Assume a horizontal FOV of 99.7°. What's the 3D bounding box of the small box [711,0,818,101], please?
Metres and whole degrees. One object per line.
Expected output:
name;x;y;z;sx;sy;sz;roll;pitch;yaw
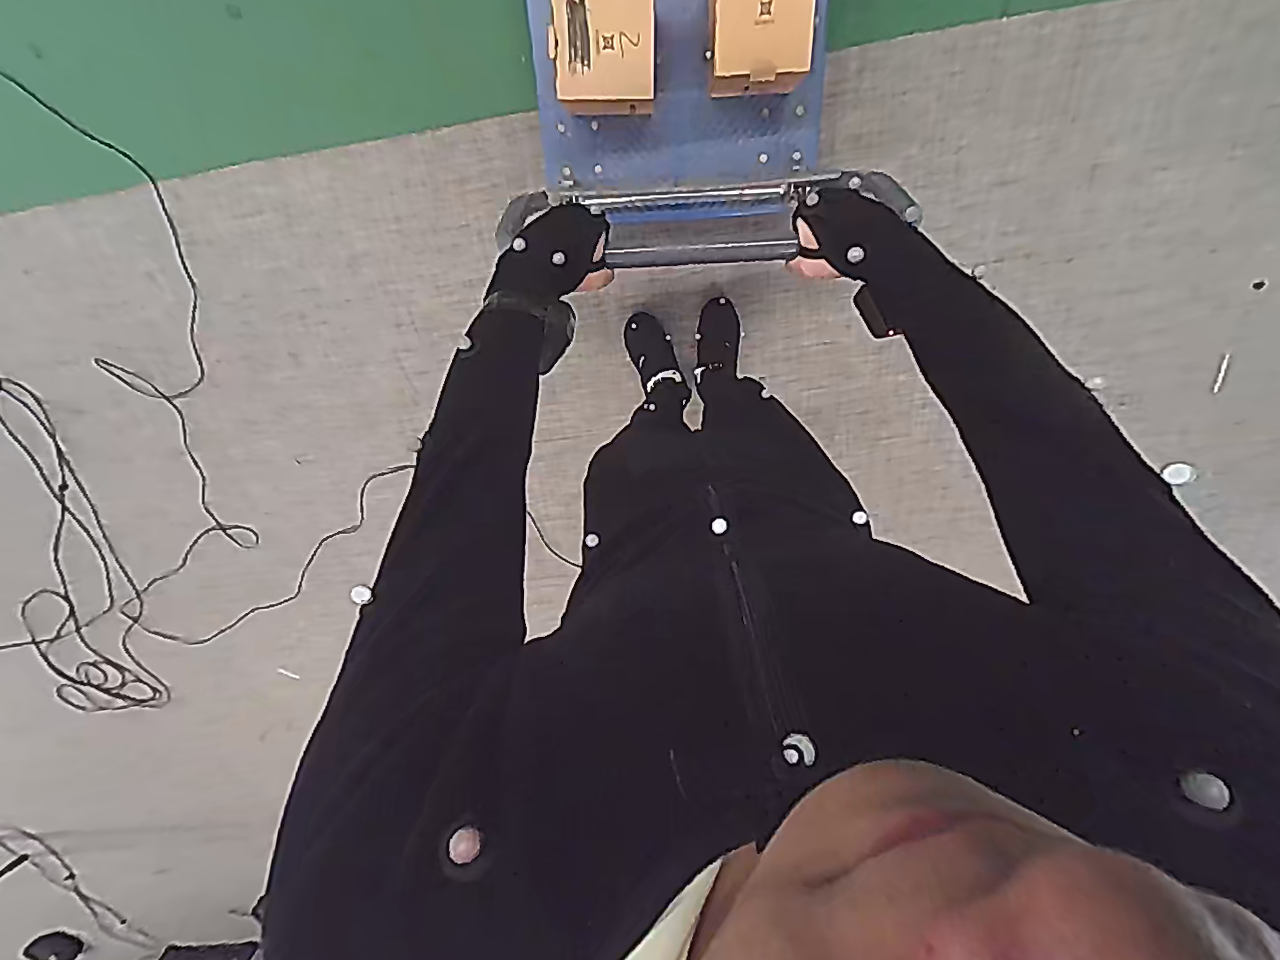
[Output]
small box;0.217;-0.813;0.981;0.168;0.176;0.179;-2;117;3
